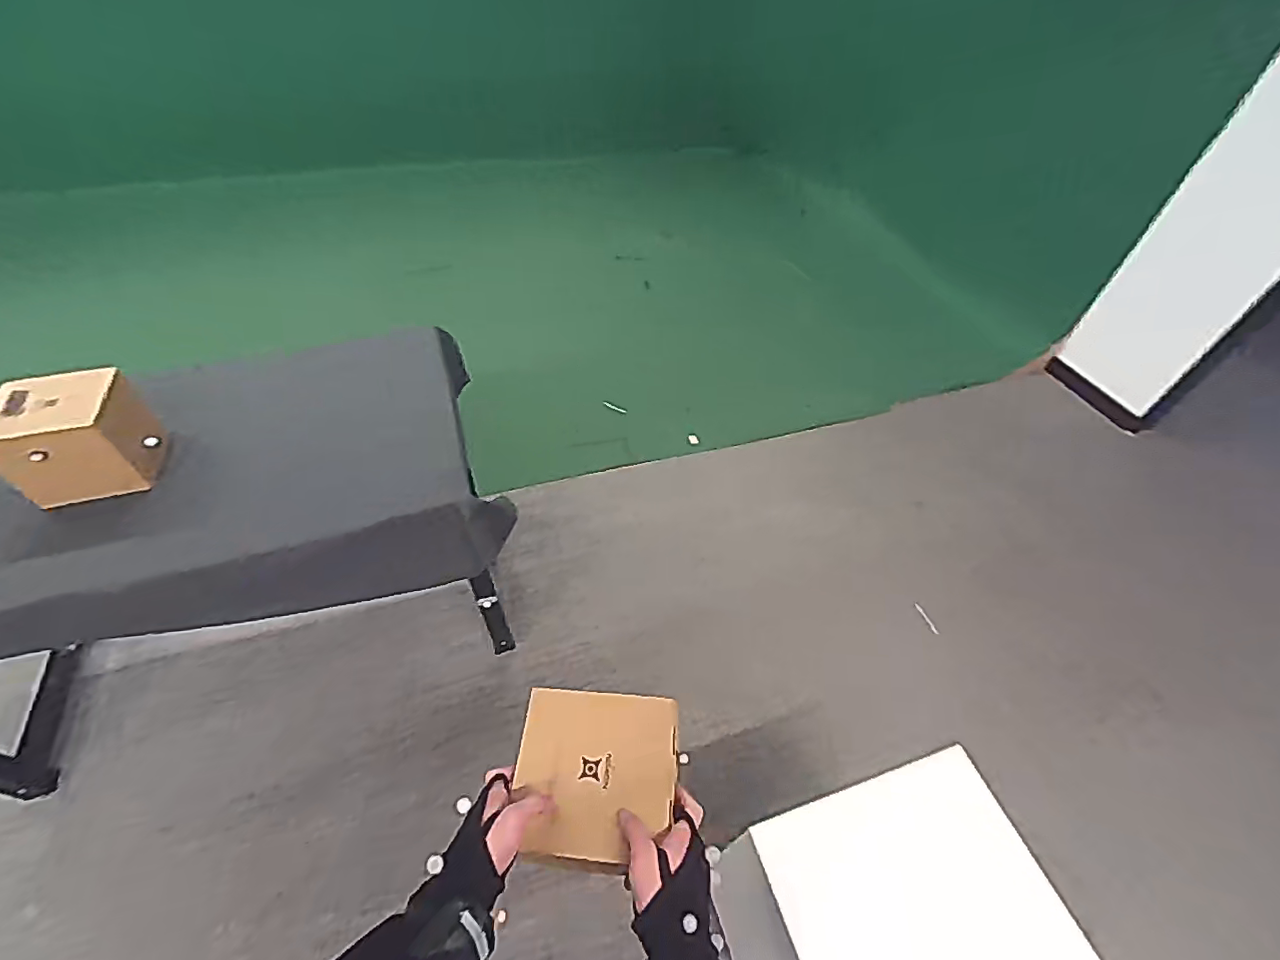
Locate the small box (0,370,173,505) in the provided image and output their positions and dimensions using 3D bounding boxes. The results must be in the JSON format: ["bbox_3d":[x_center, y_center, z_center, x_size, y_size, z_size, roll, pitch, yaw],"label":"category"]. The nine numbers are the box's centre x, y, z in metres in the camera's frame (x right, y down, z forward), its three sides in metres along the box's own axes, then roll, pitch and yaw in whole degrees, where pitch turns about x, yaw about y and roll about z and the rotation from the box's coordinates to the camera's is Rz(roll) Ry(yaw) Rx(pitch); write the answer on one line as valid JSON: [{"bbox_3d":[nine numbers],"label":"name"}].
[{"bbox_3d":[-1.023,-0.075,0.994,0.179,0.176,0.168,-12,51,-14],"label":"small box"}]

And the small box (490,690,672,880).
[{"bbox_3d":[-0.052,0.364,0.642,0.179,0.176,0.168,0,50,7],"label":"small box"}]
